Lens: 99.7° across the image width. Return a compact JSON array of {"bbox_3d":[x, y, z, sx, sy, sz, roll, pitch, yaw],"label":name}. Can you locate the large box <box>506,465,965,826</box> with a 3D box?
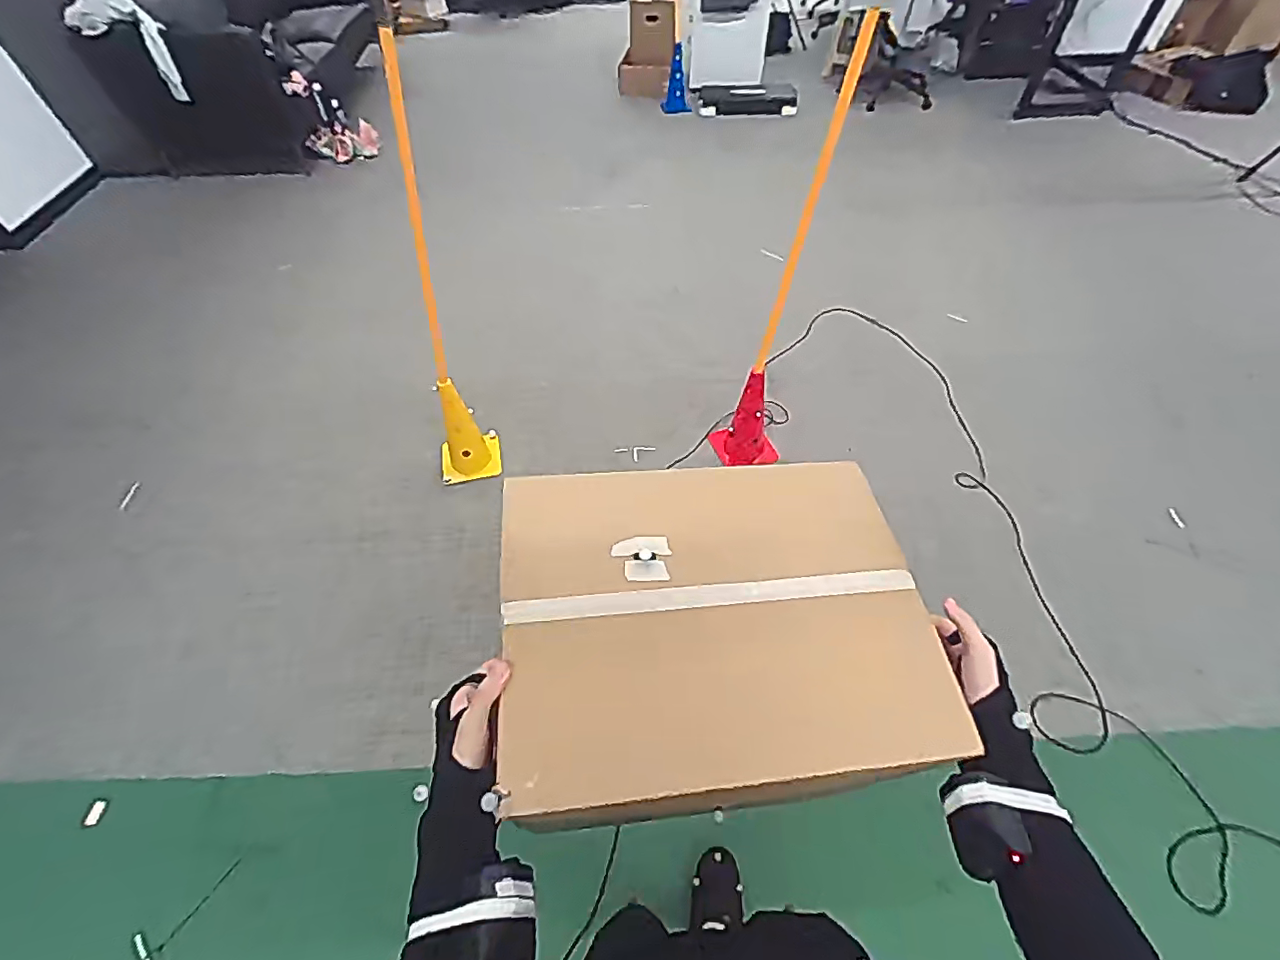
[{"bbox_3d":[0.064,0.205,0.651,0.408,0.320,0.320,-4,55,-7],"label":"large box"}]
